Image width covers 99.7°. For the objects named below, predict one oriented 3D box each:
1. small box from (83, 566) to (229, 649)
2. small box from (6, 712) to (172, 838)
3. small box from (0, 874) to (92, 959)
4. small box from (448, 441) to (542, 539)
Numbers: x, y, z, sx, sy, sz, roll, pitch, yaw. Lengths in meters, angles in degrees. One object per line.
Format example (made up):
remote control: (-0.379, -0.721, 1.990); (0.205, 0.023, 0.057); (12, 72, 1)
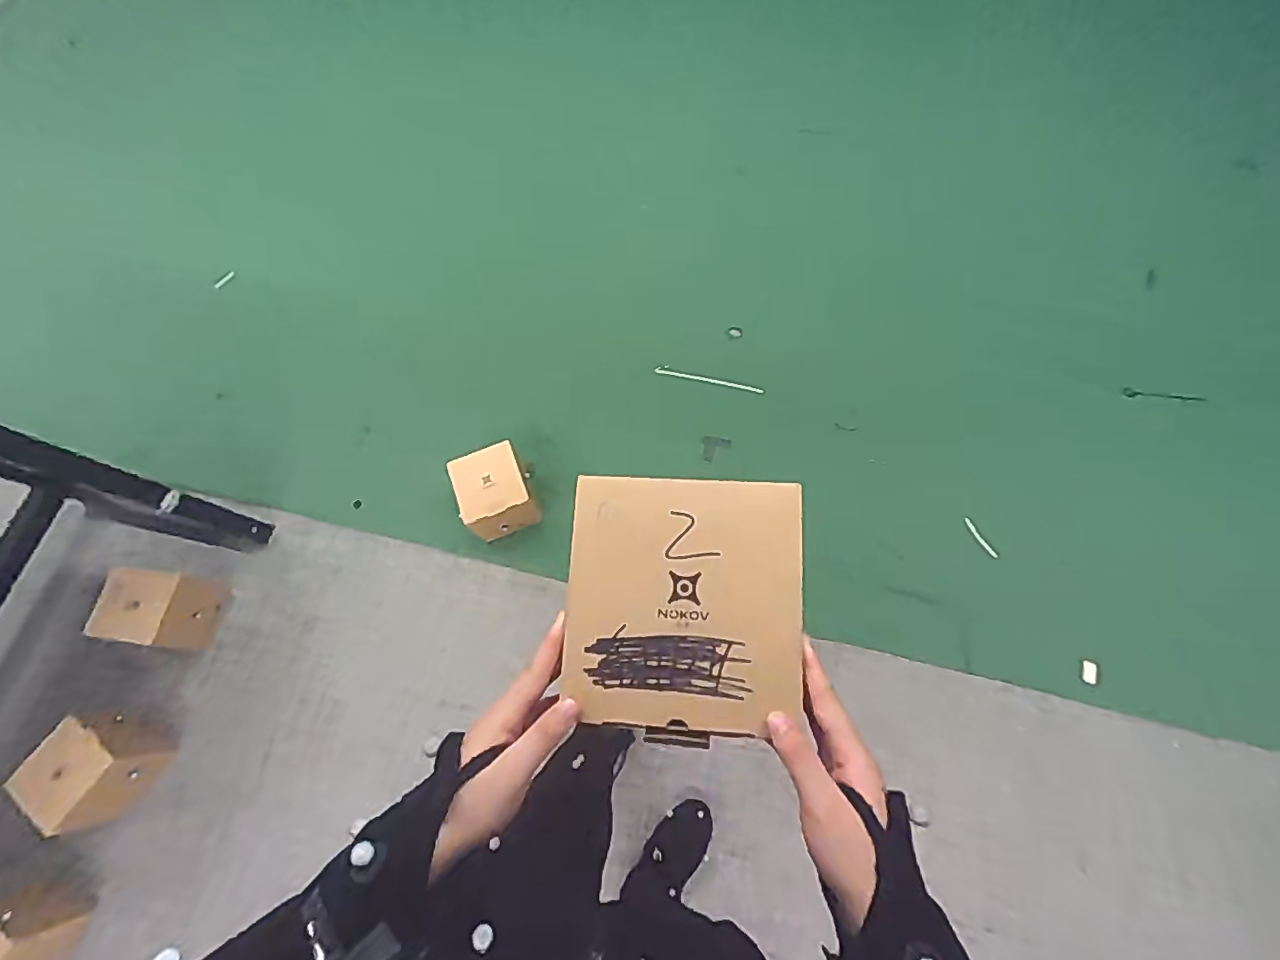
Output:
small box: (-1.166, 0.316, 1.322); (0.179, 0.176, 0.168); (7, 70, 5)
small box: (-1.211, 0.644, 1.210); (0.168, 0.176, 0.179); (31, 76, 13)
small box: (-1.304, 0.960, 1.102); (0.168, 0.176, 0.179); (23, 74, 10)
small box: (-0.368, 0.032, 1.393); (0.168, 0.176, 0.179); (-22, 72, -6)
